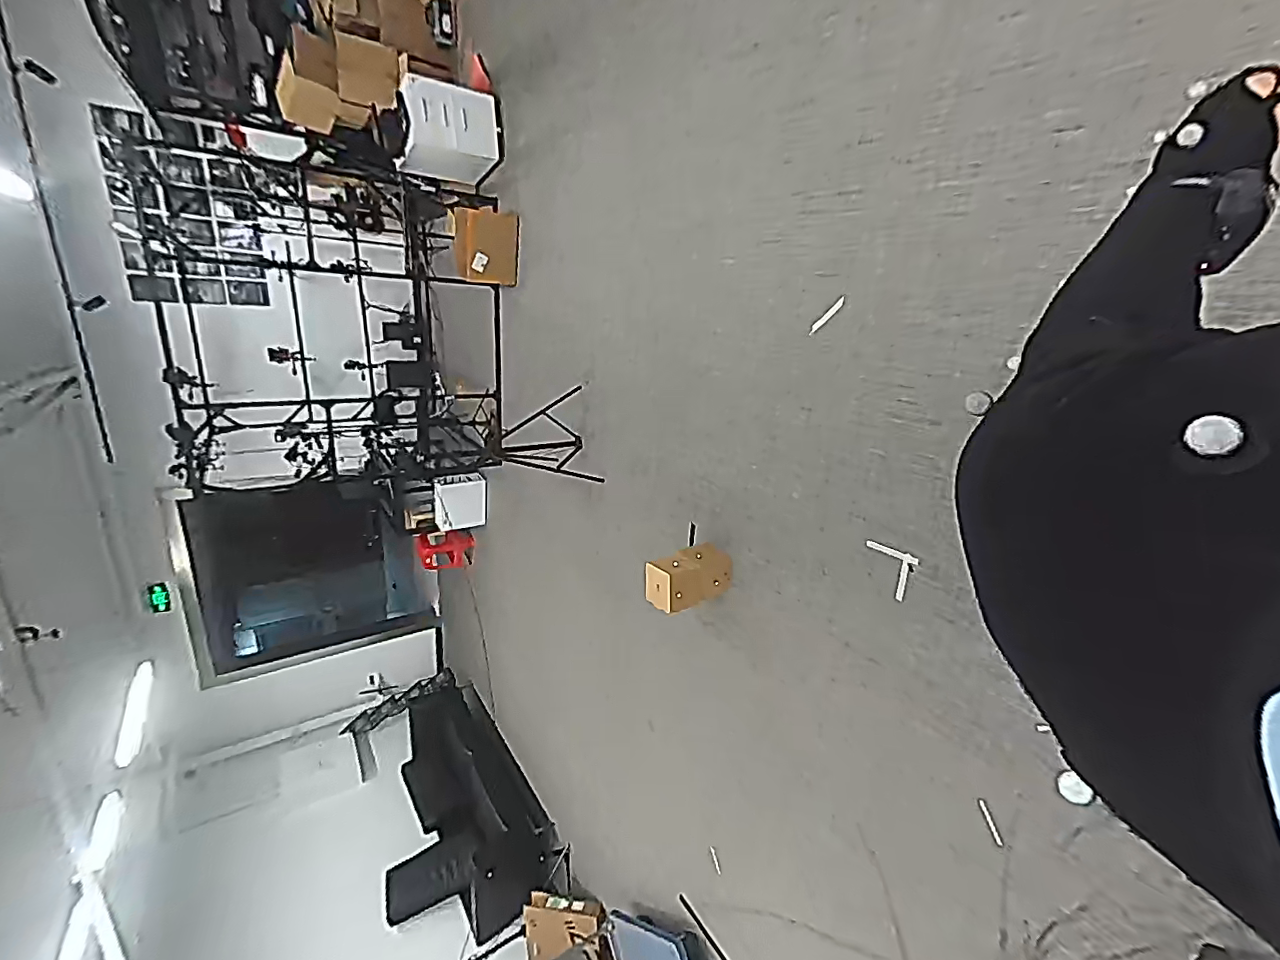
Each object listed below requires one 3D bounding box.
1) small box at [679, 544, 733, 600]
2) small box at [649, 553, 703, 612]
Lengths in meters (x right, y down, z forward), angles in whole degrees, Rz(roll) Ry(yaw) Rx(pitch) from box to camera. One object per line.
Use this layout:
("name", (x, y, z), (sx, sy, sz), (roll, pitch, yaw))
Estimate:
("small box", (0.281, 0.391, 2.351), (0.179, 0.176, 0.168), (32, 123, 50))
("small box", (0.152, 0.421, 2.256), (0.168, 0.176, 0.179), (19, 114, 53))
